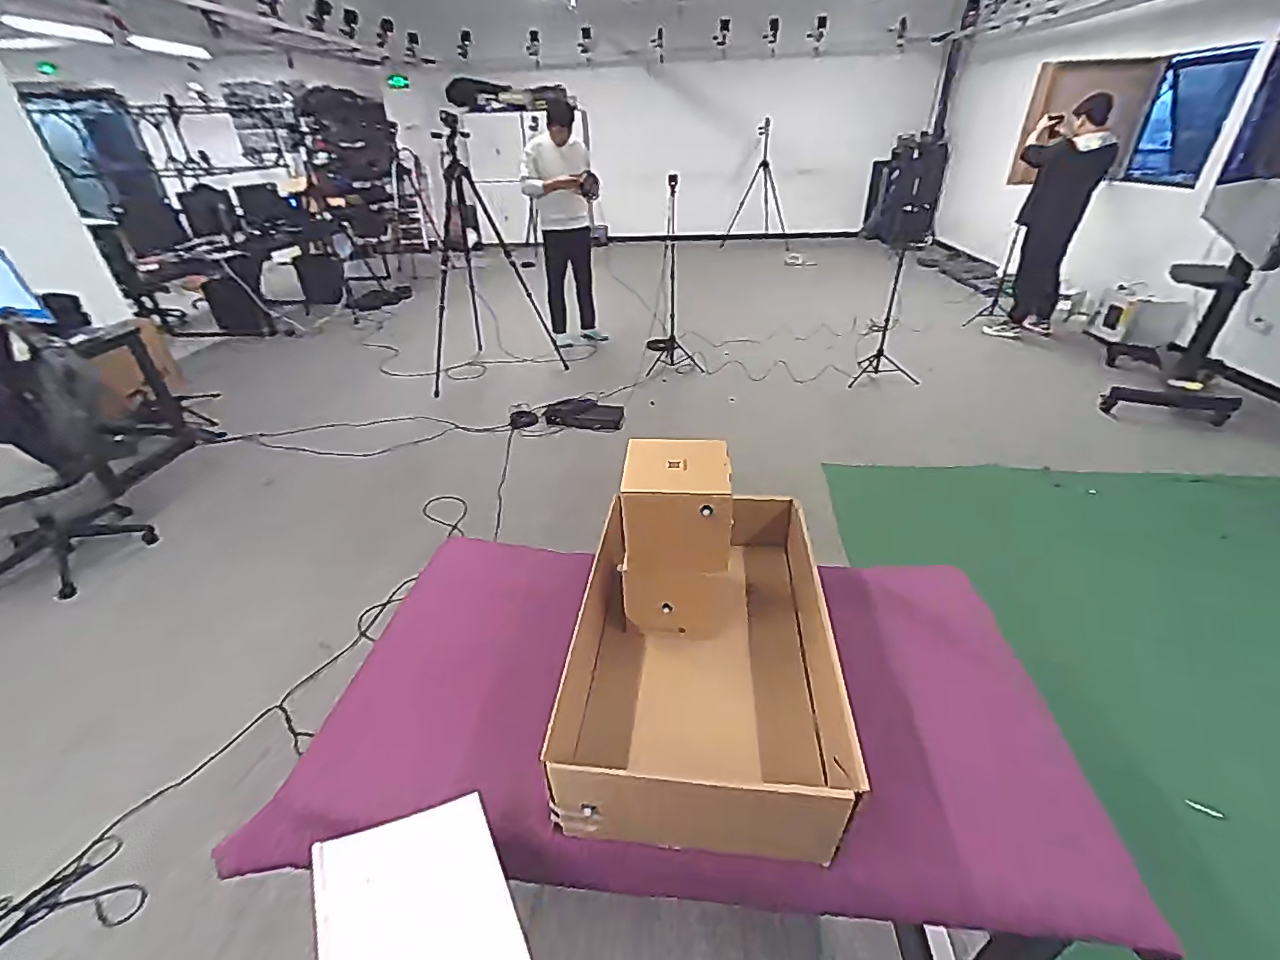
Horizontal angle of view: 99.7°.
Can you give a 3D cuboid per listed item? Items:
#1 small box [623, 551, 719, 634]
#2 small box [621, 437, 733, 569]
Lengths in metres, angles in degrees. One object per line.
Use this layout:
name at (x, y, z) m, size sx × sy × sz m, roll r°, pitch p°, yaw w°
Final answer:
small box at (0.066, 0.171, 1.028) m, size 0.168 × 0.176 × 0.179 m, roll 2°, pitch 35°, yaw 7°
small box at (0.066, 0.038, 0.935) m, size 0.179 × 0.176 × 0.168 m, roll 1°, pitch 34°, yaw 5°
